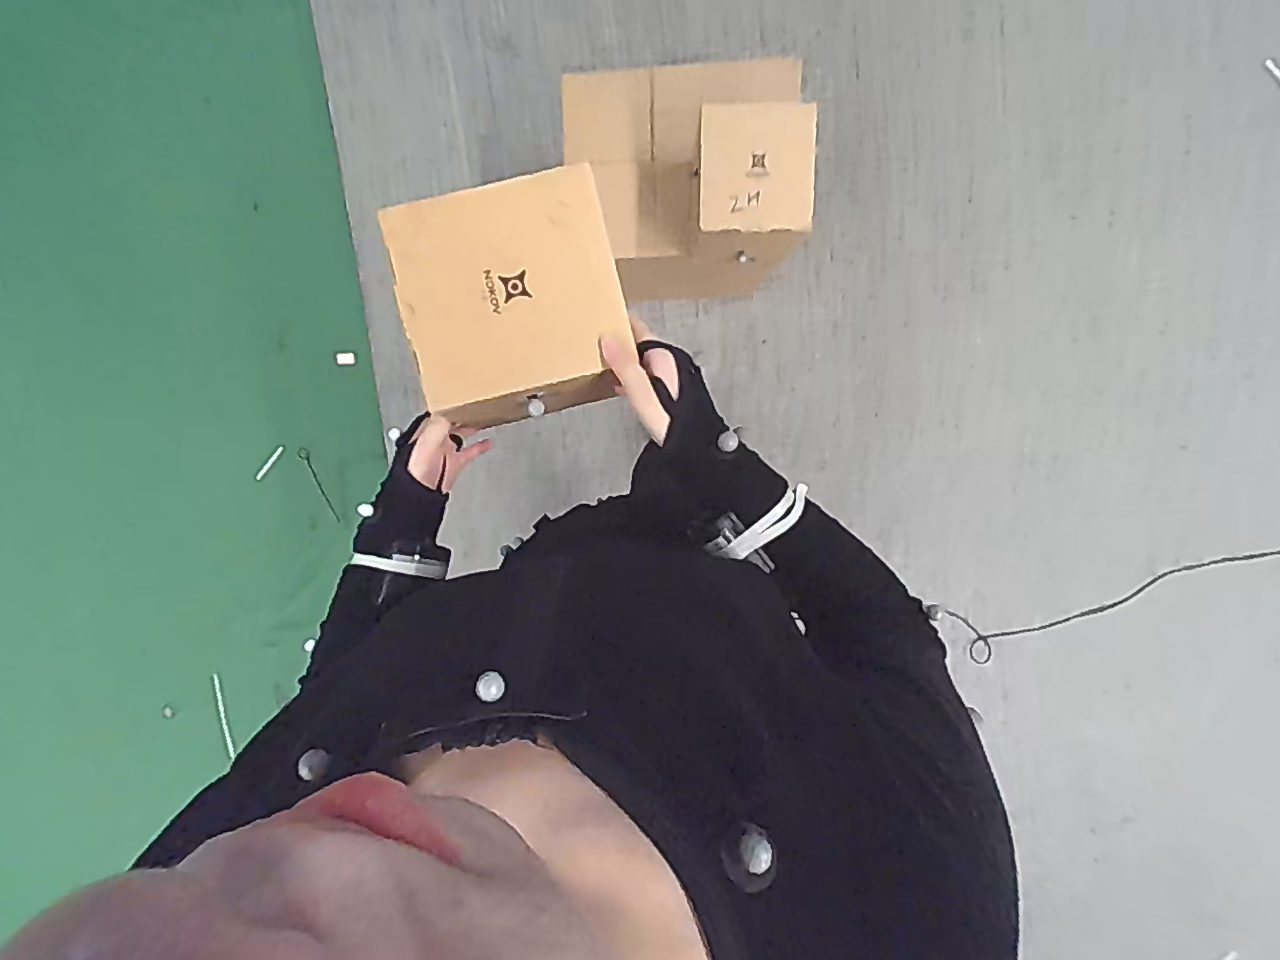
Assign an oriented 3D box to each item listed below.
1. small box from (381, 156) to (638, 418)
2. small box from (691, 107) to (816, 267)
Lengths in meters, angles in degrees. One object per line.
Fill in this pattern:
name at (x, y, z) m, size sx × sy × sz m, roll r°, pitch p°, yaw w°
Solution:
small box at (-0.106, -0.162, 0.511) m, size 0.179 × 0.176 × 0.168 m, roll -14°, pitch 90°, yaw 0°
small box at (0.170, -0.453, 0.858) m, size 0.168 × 0.176 × 0.179 m, roll 1°, pitch 97°, yaw 2°
